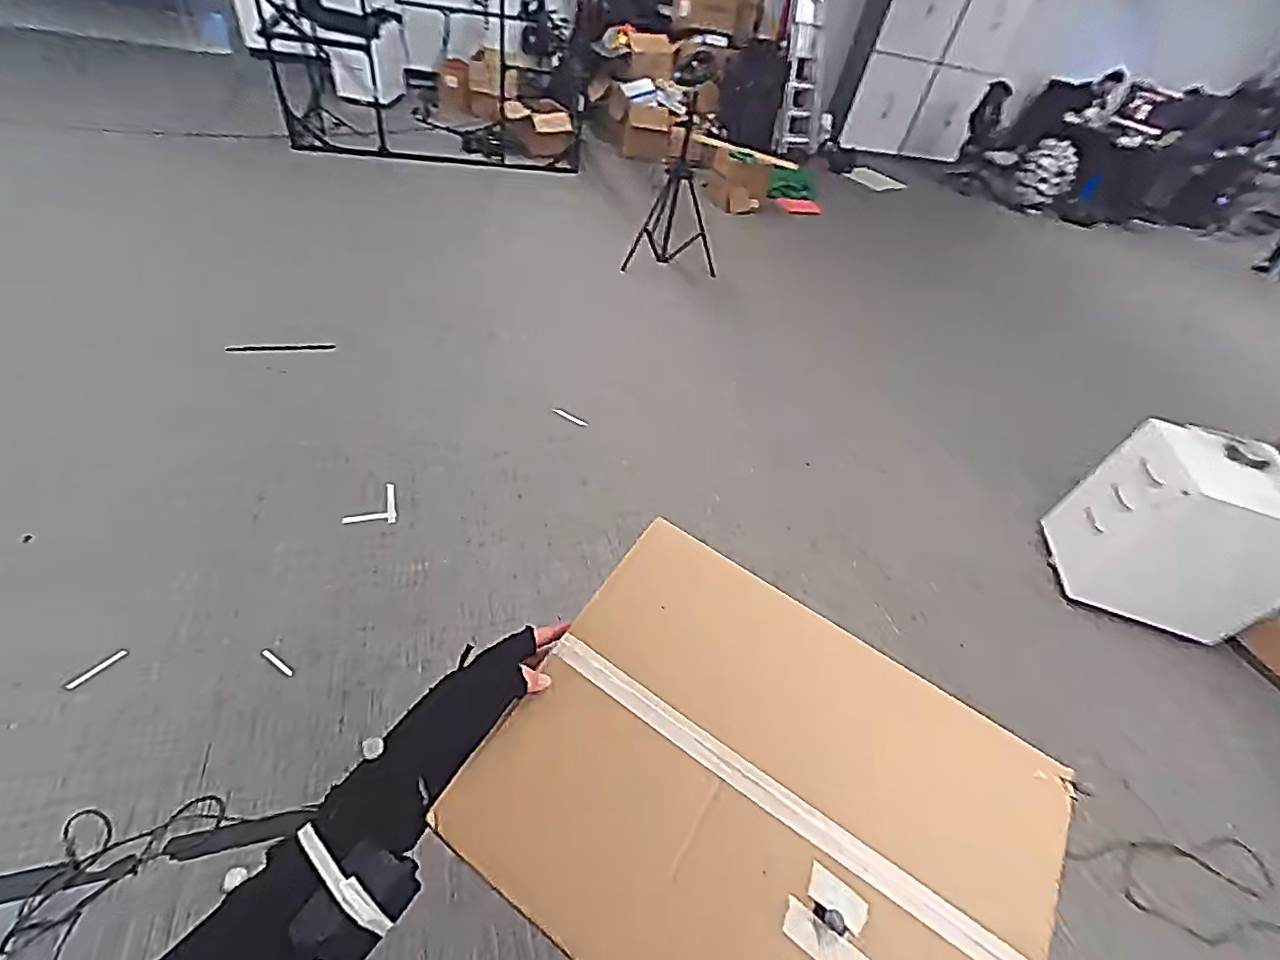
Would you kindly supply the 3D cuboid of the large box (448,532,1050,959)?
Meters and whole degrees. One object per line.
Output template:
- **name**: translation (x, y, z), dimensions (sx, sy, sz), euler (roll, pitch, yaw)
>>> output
- **large box**: translation (0.086, 0.329, 0.549), dimensions (0.408, 0.320, 0.320), euler (31, 59, 15)
